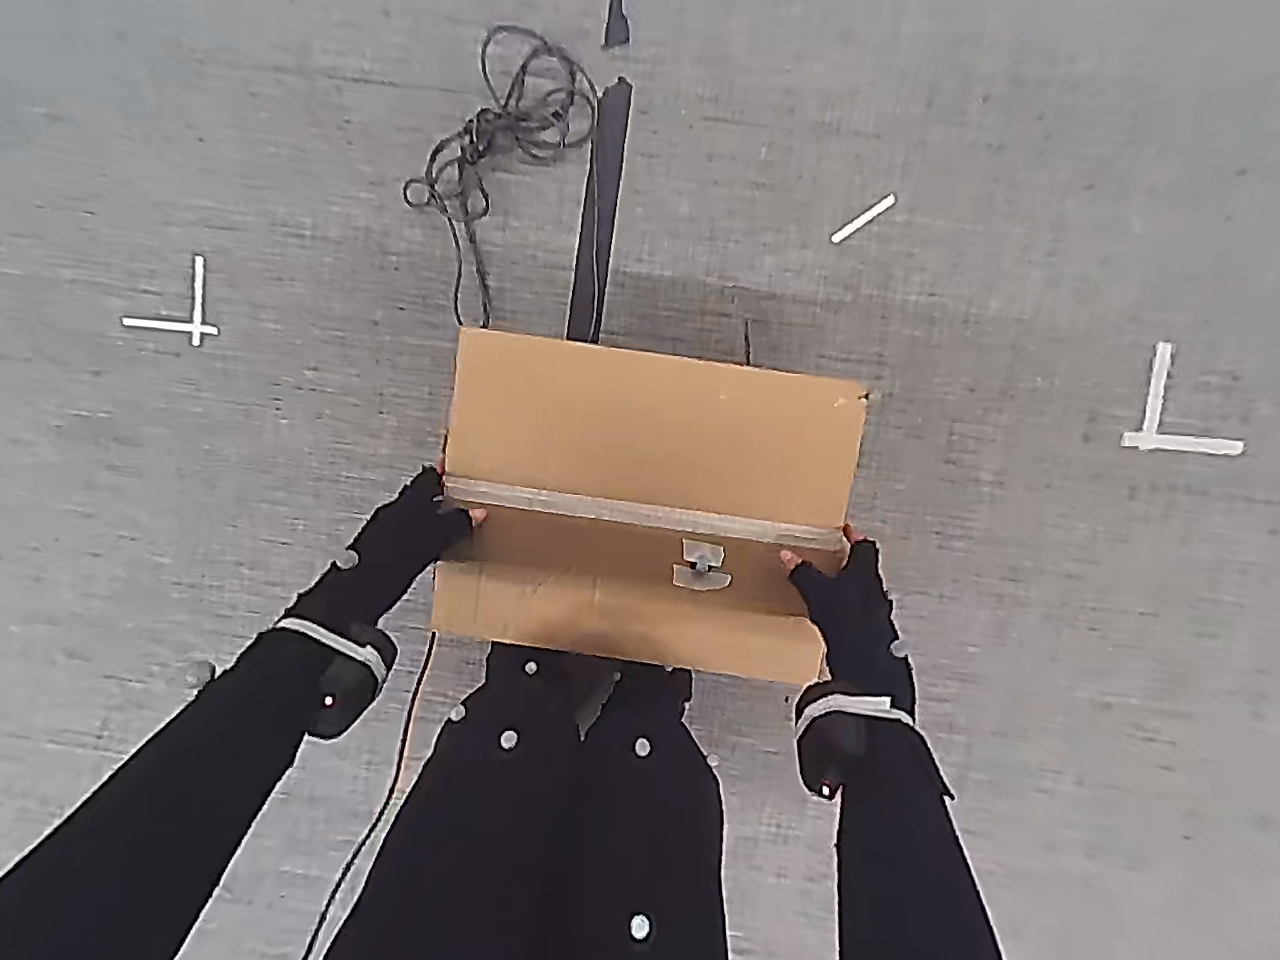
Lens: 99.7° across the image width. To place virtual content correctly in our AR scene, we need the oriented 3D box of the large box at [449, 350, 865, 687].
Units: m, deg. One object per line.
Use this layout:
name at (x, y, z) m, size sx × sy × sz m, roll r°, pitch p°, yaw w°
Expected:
large box at (0.012, 0.032, 0.706) m, size 0.408 × 0.320 × 0.320 m, roll 9°, pitch 96°, yaw 0°
